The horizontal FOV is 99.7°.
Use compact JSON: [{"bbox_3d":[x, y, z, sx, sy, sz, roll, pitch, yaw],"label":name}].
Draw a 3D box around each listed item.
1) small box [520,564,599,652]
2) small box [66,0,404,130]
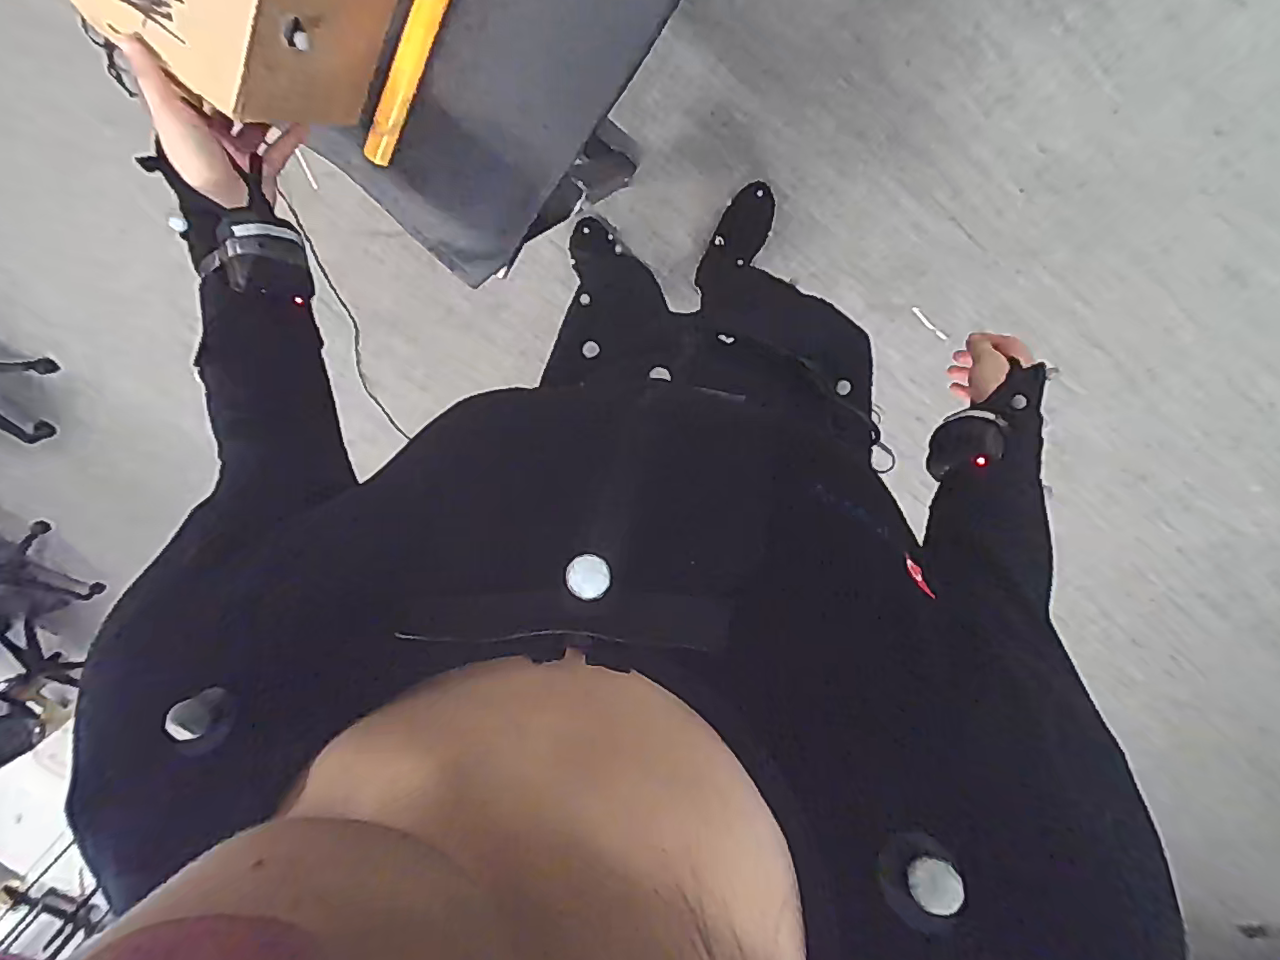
[{"bbox_3d":[-0.242,0.391,1.672,0.168,0.176,0.179,31,124,-10],"label":"small box"},{"bbox_3d":[-0.325,-0.427,0.450,0.168,0.176,0.179,35,121,-12],"label":"small box"}]
